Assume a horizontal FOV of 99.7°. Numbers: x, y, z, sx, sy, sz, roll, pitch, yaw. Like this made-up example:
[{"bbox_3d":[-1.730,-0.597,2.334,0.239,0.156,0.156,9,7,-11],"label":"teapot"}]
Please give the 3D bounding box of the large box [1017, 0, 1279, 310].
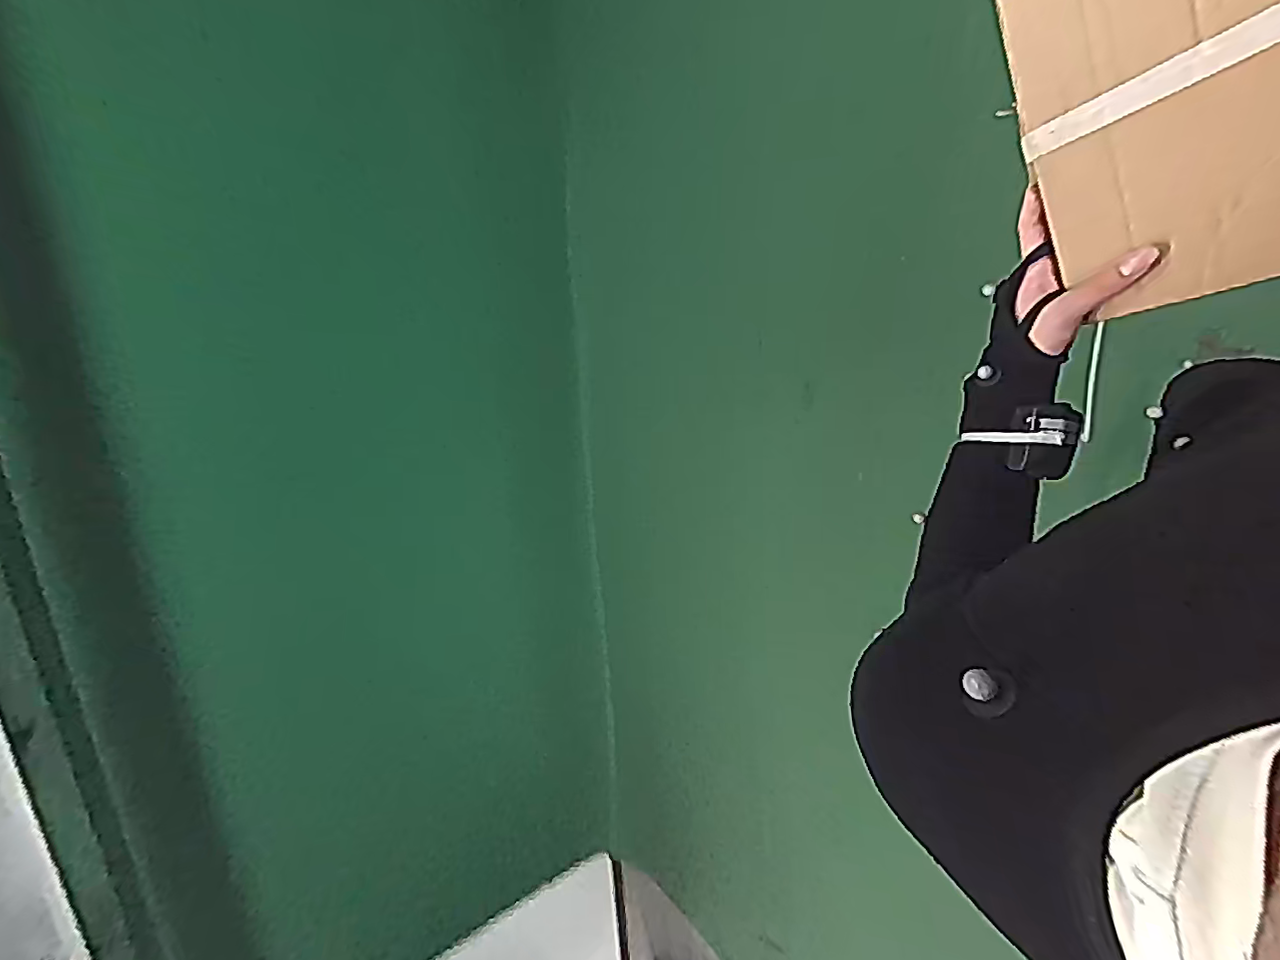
[{"bbox_3d":[0.557,-0.356,0.367,0.408,0.320,0.320,-7,107,54],"label":"large box"}]
